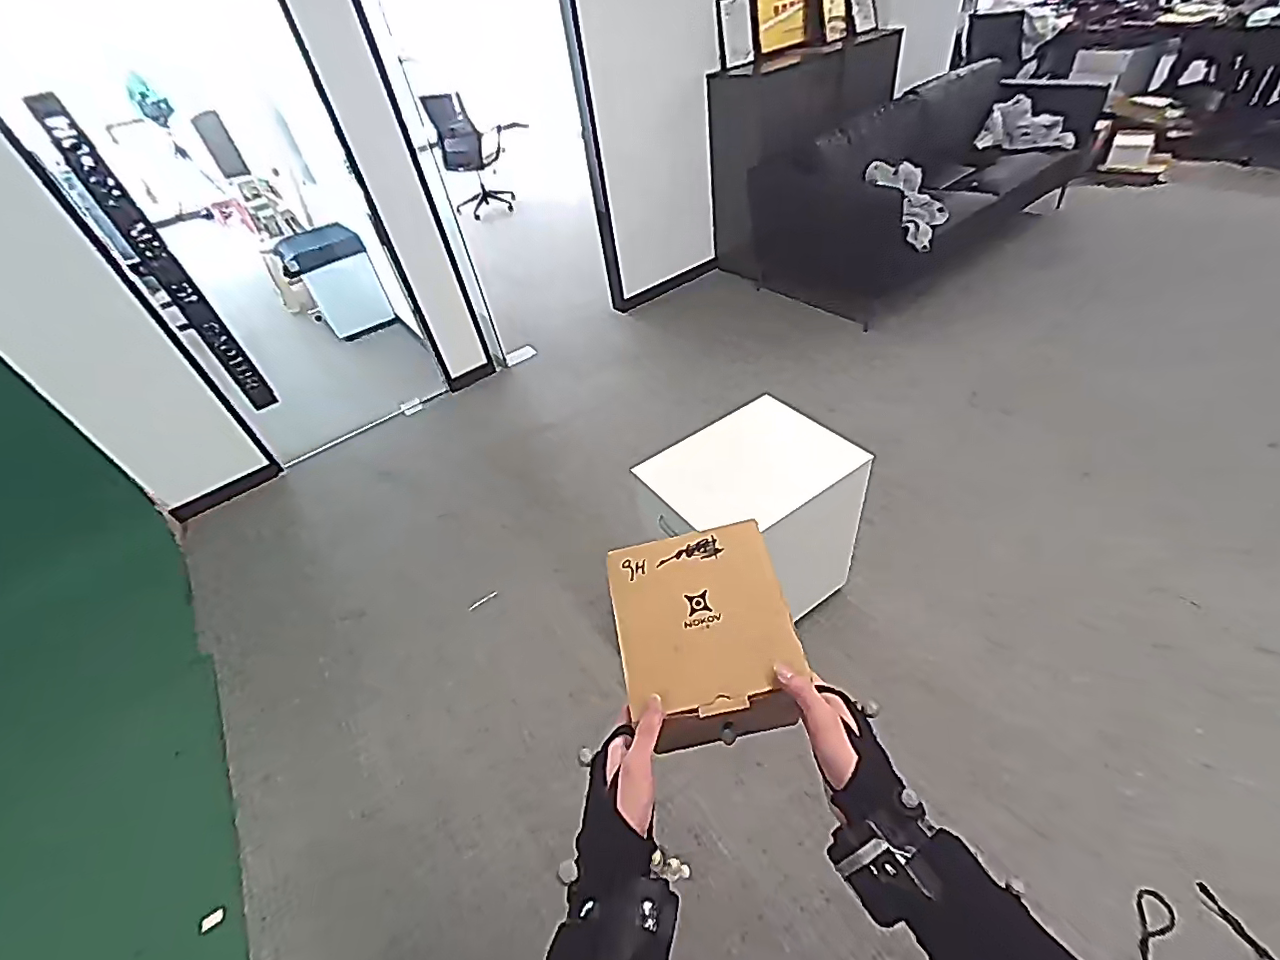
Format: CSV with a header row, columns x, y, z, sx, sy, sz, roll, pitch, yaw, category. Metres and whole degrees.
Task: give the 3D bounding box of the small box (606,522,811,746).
x,y,z,sx,sy,sz,roll,pitch,yaw,category
0.072,0.177,0.592,0.168,0.176,0.179,-15,53,0,small box
